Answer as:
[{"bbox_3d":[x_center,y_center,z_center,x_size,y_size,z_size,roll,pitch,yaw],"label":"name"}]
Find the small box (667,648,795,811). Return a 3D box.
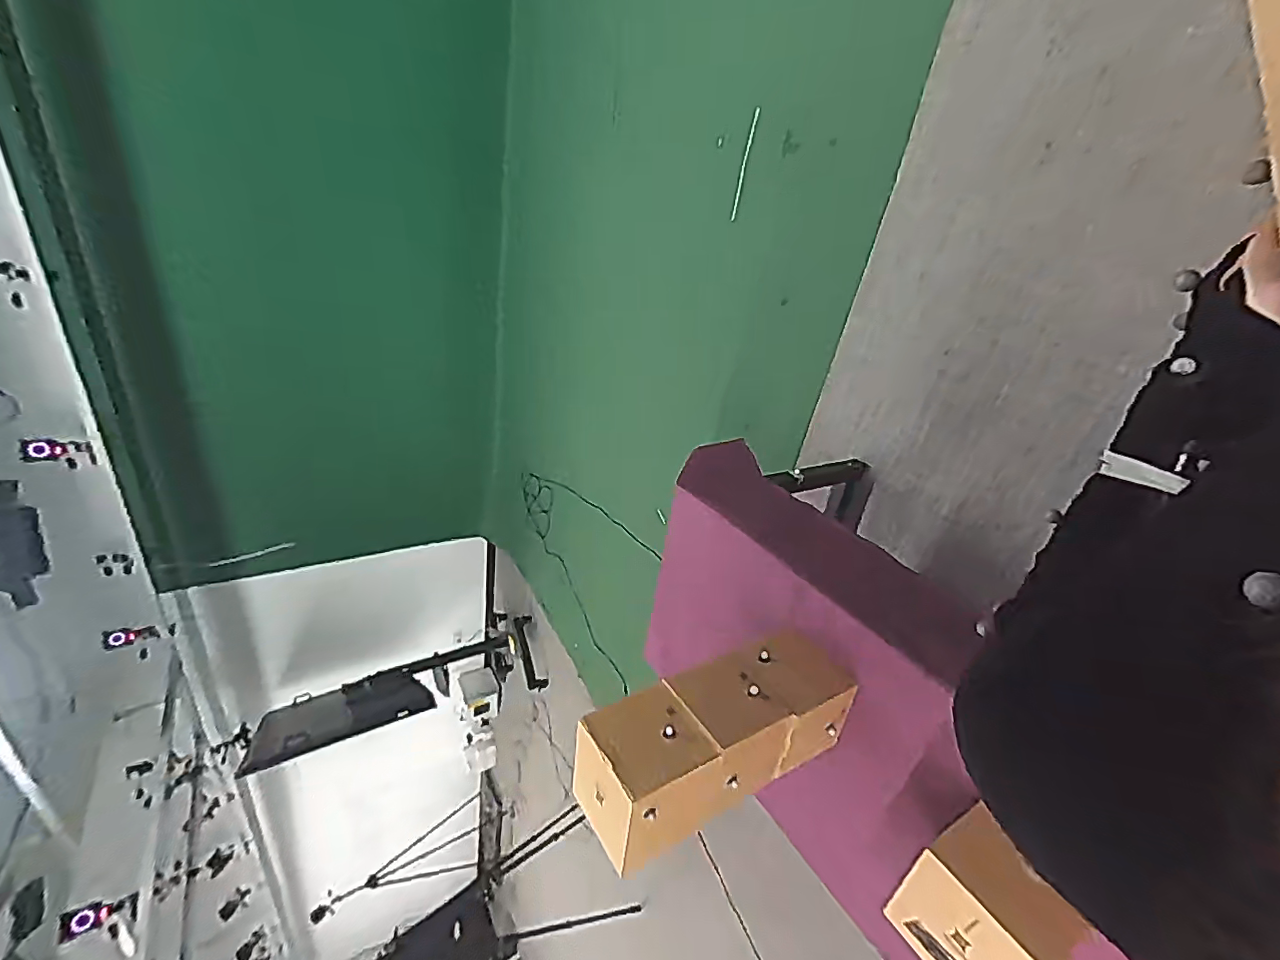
[{"bbox_3d":[0.151,0.438,0.972,0.168,0.176,0.179,38,128,47],"label":"small box"}]

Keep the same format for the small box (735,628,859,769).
[{"bbox_3d":[0.288,0.413,1.057,0.179,0.176,0.168,40,131,47],"label":"small box"}]

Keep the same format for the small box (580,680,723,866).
[{"bbox_3d":[0.016,0.468,0.887,0.168,0.176,0.179,35,126,48],"label":"small box"}]

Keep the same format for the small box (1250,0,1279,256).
[{"bbox_3d":[0.453,-0.224,0.279,0.168,0.176,0.179,-6,90,53],"label":"small box"}]

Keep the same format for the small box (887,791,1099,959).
[{"bbox_3d":[0.498,0.593,0.770,0.168,0.176,0.179,41,131,46],"label":"small box"}]
